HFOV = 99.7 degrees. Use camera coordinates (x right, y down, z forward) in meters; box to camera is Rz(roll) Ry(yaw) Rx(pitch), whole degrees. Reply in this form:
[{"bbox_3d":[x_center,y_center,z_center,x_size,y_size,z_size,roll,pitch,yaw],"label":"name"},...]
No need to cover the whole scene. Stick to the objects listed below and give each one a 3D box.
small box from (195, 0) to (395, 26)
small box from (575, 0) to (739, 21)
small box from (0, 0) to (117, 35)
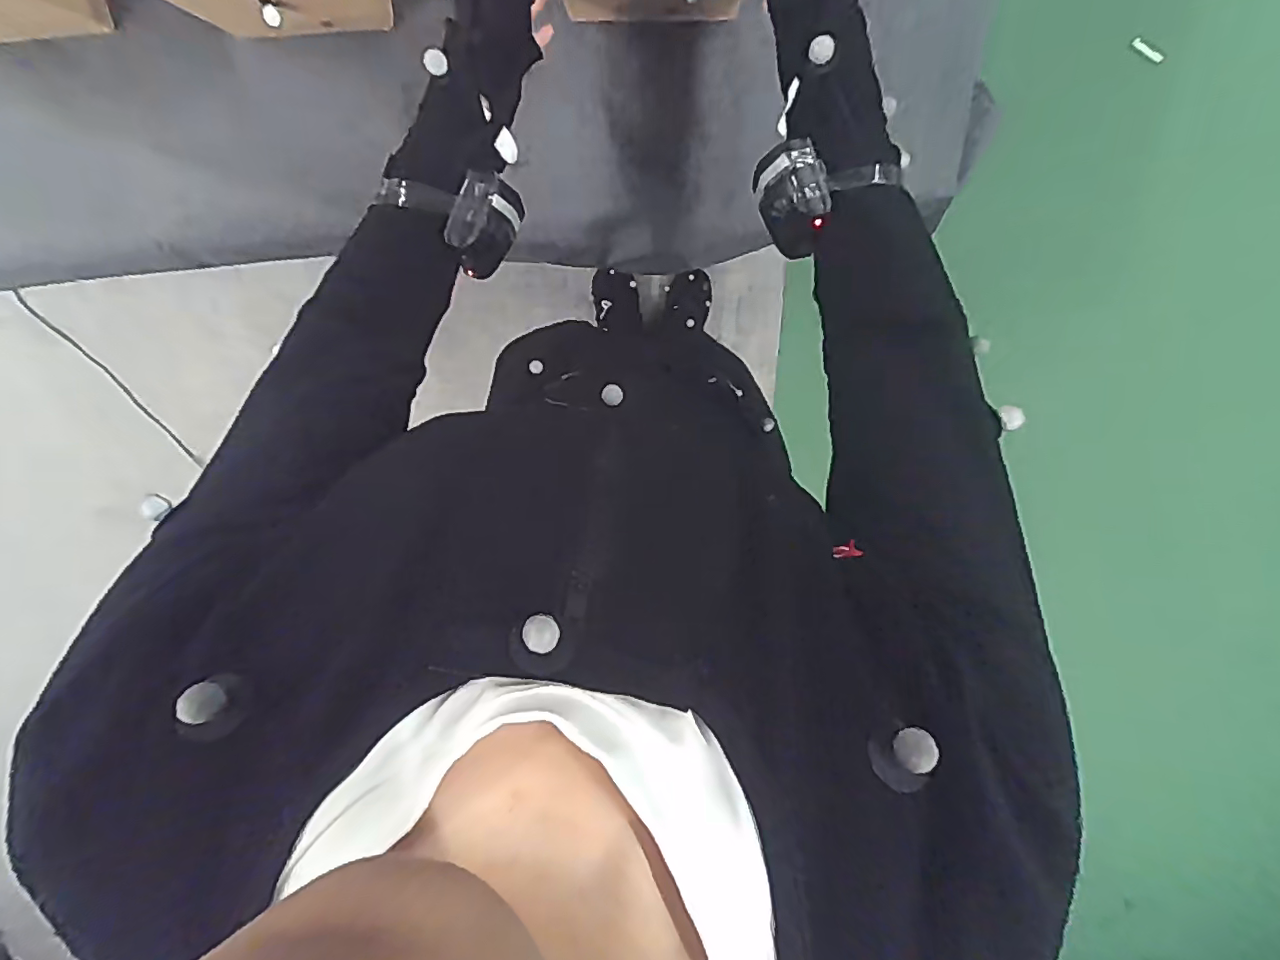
[{"bbox_3d":[-0.326,-0.503,0.442,0.168,0.176,0.179,-1,114,2],"label":"small box"},{"bbox_3d":[0.014,-0.503,0.432,0.168,0.176,0.179,1,112,1],"label":"small box"},{"bbox_3d":[-0.619,-0.502,0.451,0.179,0.176,0.168,-3,113,2],"label":"small box"}]
